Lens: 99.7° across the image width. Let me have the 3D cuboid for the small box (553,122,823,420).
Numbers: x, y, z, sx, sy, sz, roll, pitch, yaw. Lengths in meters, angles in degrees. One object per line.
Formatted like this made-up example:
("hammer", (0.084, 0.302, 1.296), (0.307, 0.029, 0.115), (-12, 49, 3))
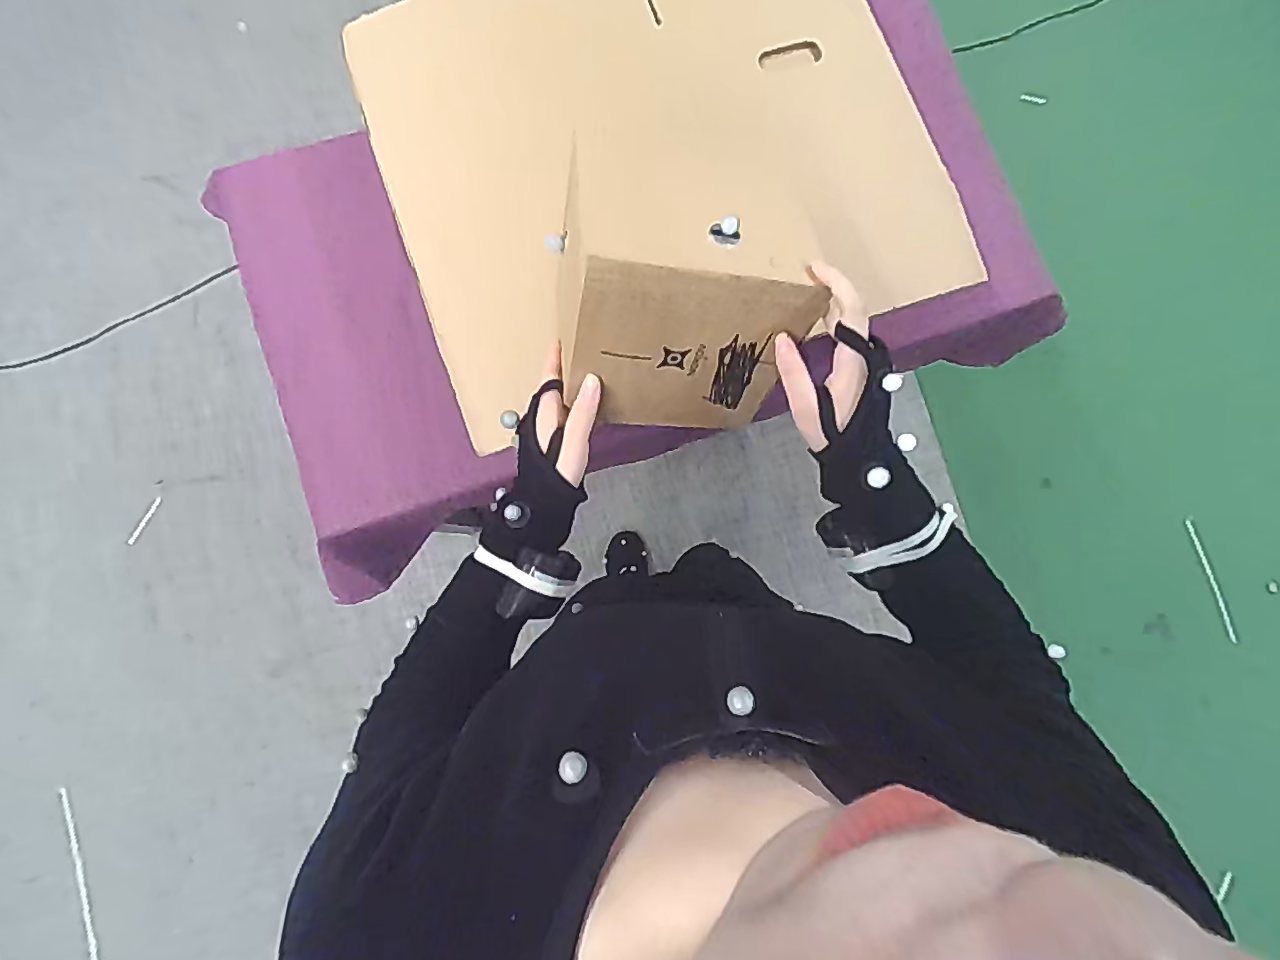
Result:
("small box", (0.021, -0.170, 0.462), (0.179, 0.168, 0.176), (2, 59, -13))
